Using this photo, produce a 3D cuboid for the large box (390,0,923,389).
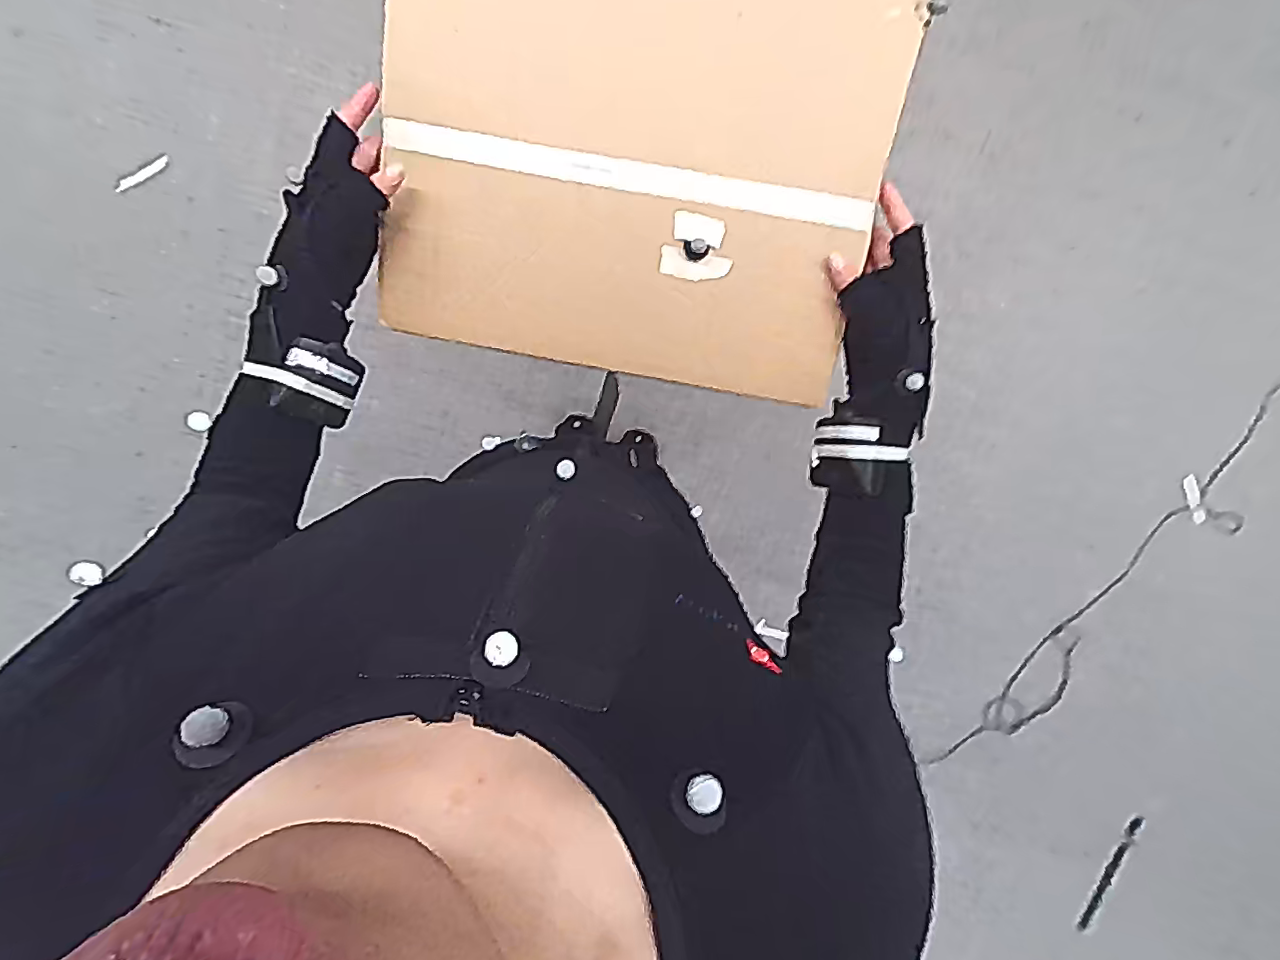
[{"bbox_3d":[0.000,-0.294,0.585,0.408,0.320,0.320,10,106,0],"label":"large box"}]
